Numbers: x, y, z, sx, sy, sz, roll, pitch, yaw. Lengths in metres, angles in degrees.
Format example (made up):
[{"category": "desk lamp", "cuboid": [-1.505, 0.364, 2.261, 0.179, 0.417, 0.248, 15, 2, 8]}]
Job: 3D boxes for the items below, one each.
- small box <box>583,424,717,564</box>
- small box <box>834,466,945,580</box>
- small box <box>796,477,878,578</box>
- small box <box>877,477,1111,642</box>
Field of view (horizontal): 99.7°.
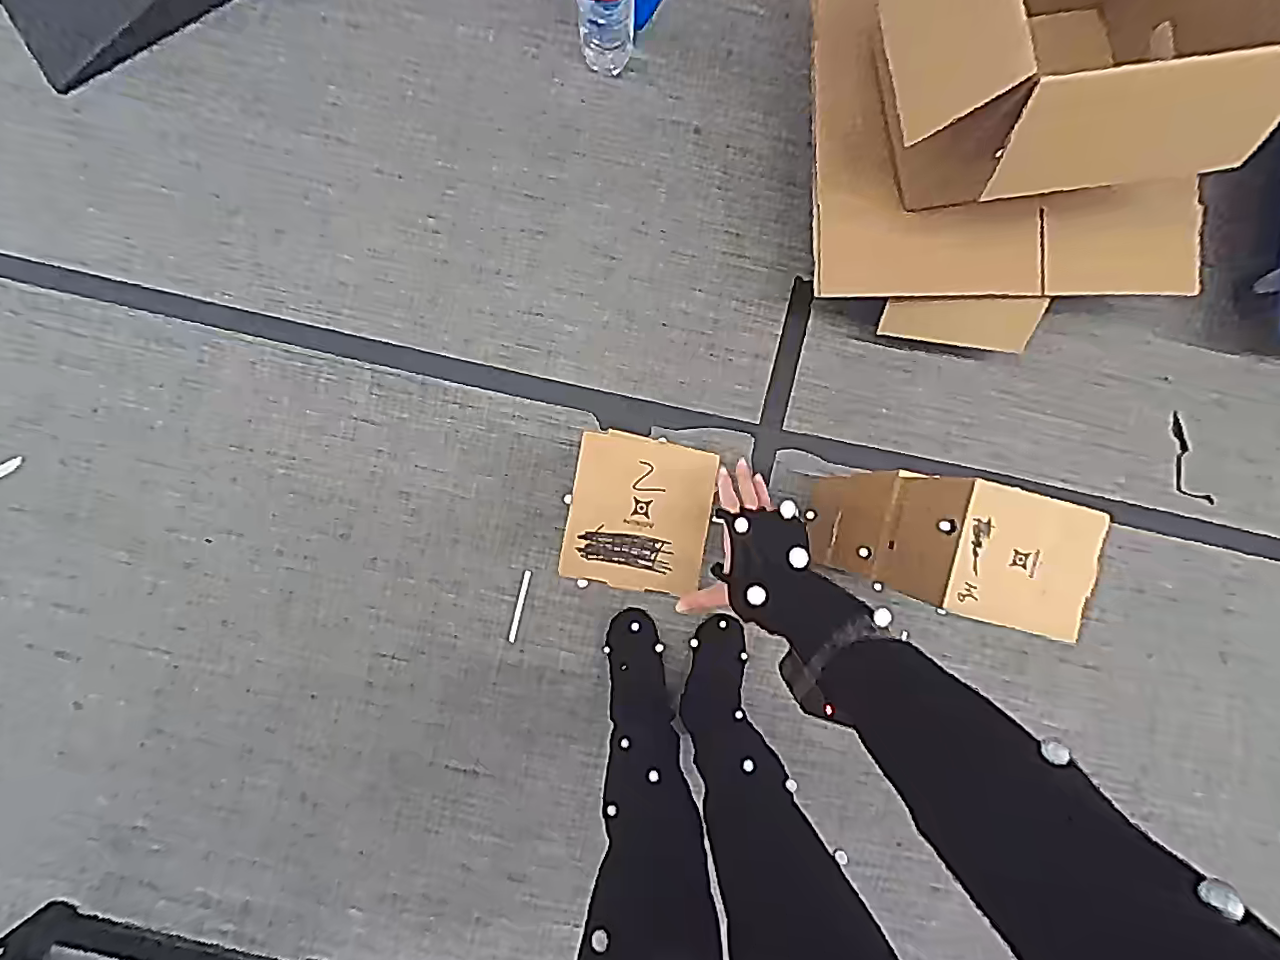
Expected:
[{"category": "small box", "cuboid": [0.013, 0.022, 0.871, 0.168, 0.176, 0.179, 14, 88, -2]}, {"category": "small box", "cuboid": [0.442, 0.080, 0.888, 0.168, 0.176, 0.179, 13, 90, -3]}, {"category": "small box", "cuboid": [0.432, 0.092, 1.050, 0.179, 0.176, 0.168, 18, 89, -3]}, {"category": "small box", "cuboid": [0.458, 0.093, 0.725, 0.179, 0.176, 0.168, 15, 91, -4]}]
